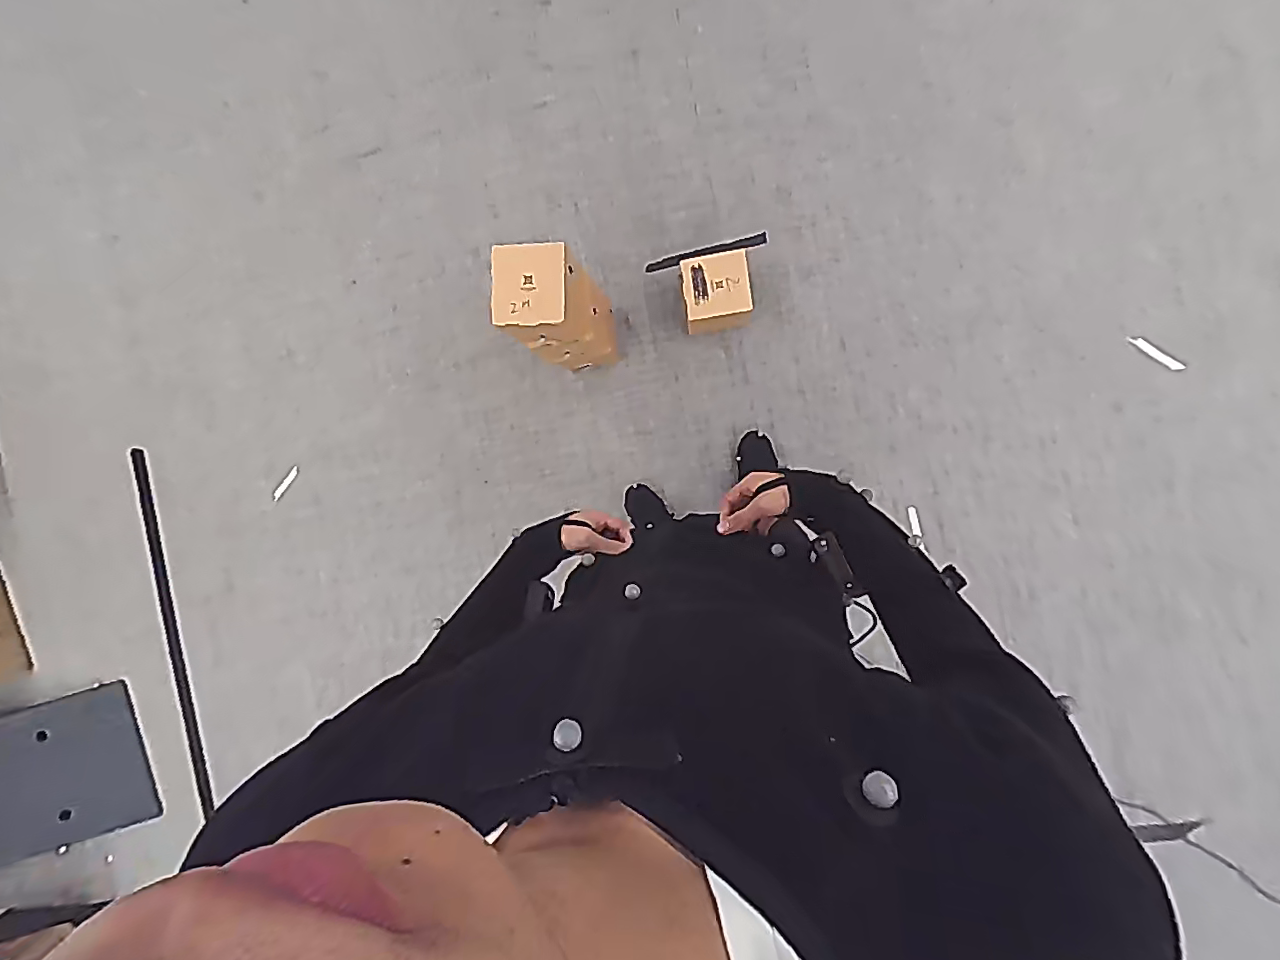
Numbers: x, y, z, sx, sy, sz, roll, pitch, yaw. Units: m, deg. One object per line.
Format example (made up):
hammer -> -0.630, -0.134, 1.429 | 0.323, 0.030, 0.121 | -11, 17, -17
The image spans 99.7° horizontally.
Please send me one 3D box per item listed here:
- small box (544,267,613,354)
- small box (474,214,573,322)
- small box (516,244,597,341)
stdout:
small box -> -0.177, -0.460, 1.491 | 0.168, 0.176, 0.179 | -8, 92, 8
small box -> -0.246, -0.451, 1.171 | 0.168, 0.176, 0.179 | 1, 94, 8
small box -> -0.208, -0.454, 1.333 | 0.168, 0.176, 0.179 | -5, 93, 8
